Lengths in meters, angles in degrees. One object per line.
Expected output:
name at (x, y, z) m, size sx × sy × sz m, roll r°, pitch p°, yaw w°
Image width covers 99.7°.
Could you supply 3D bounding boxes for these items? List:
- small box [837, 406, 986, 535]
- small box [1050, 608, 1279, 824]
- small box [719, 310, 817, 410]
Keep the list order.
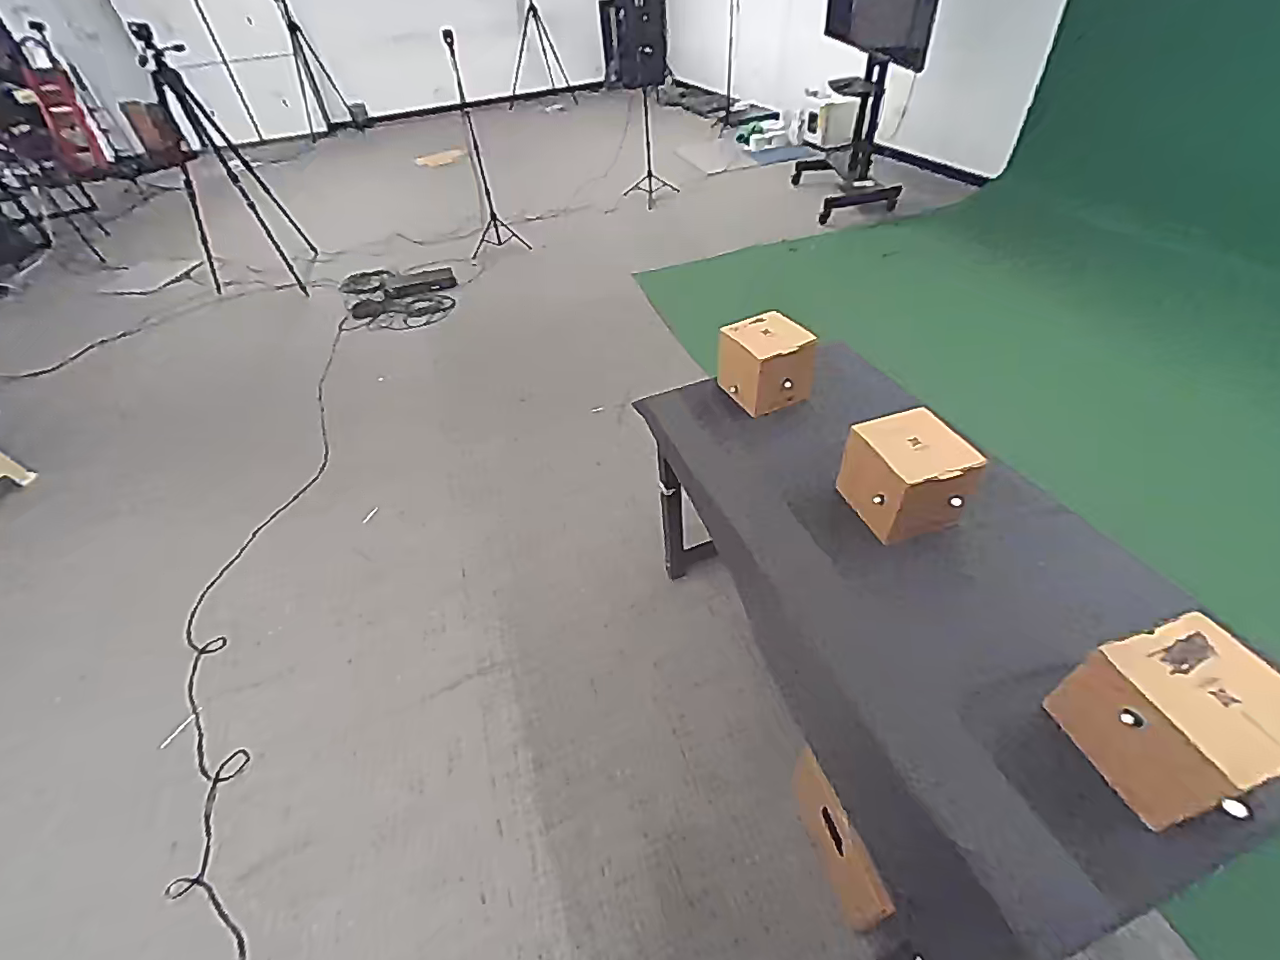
small box at (0.508, -0.013, 1.041) m, size 0.168 × 0.176 × 0.179 m, roll -15°, pitch 43°, yaw -10°
small box at (0.686, 0.300, 0.691) m, size 0.168 × 0.176 × 0.179 m, roll -15°, pitch 45°, yaw -9°
small box at (0.312, -0.294, 1.350) m, size 0.168 × 0.176 × 0.179 m, roll -21°, pitch 47°, yaw -15°
